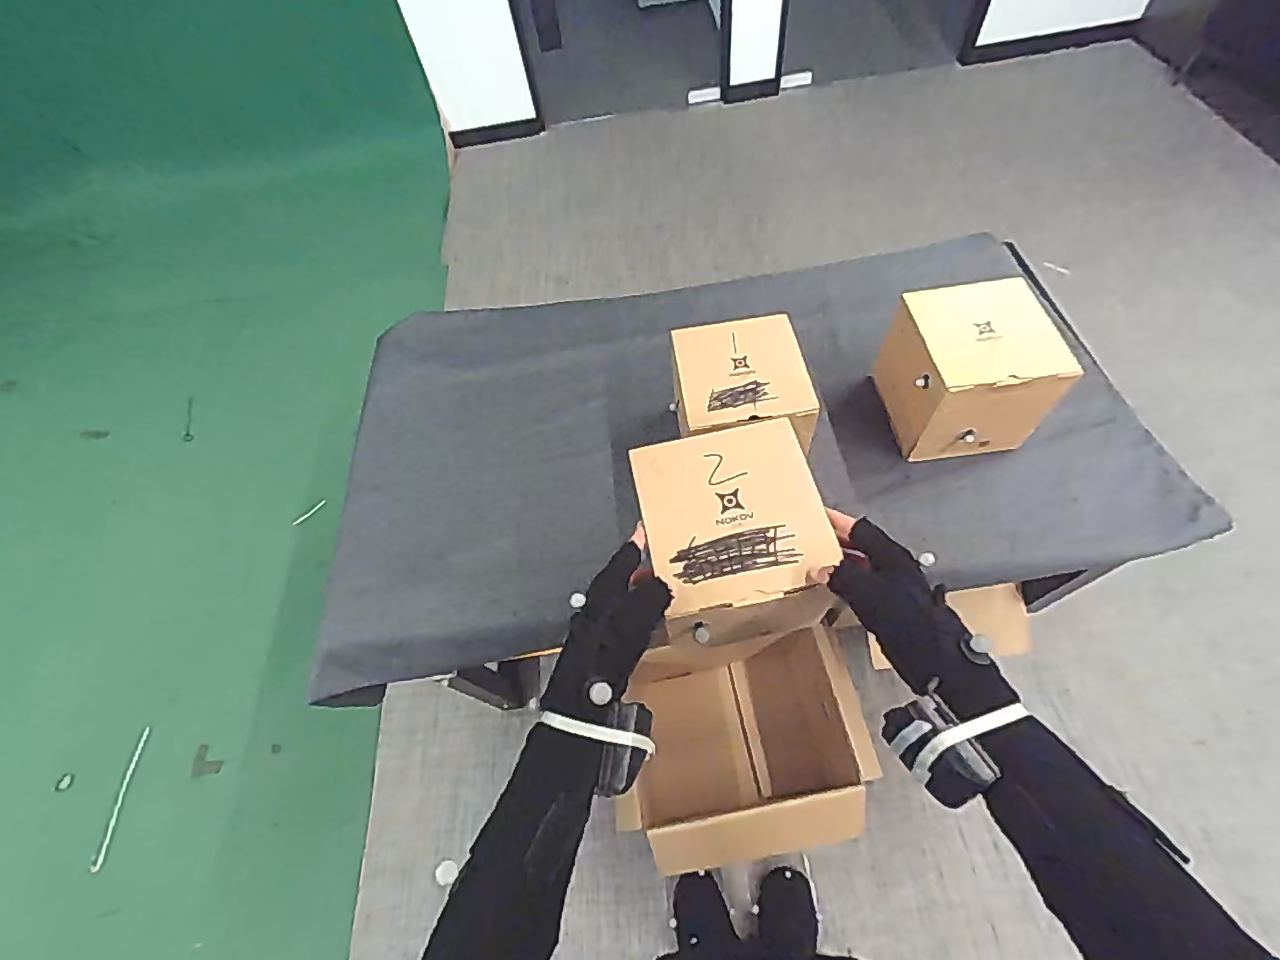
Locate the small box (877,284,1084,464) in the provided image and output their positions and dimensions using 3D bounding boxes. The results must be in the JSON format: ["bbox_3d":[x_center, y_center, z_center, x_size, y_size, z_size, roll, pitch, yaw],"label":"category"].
[{"bbox_3d":[0.460,-0.146,0.769,0.168,0.176,0.179,-7,59,3],"label":"small box"}]

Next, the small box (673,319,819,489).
[{"bbox_3d":[0.143,-0.098,0.777,0.168,0.176,0.179,-7,58,2],"label":"small box"}]
